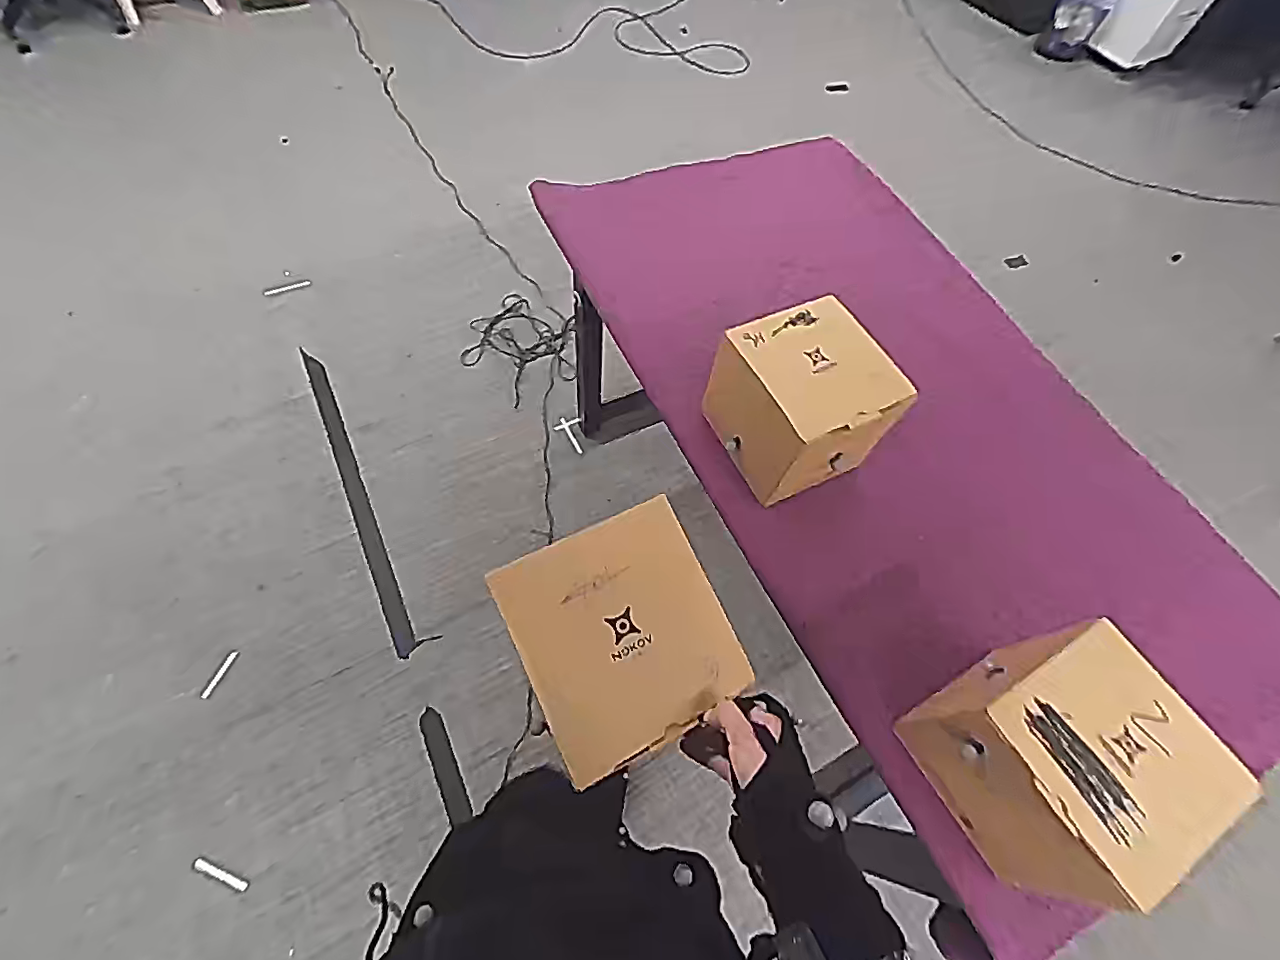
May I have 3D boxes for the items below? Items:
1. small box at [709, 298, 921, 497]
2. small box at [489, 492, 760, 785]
[{"bbox_3d":[0.210,-0.096,0.703,0.168,0.176,0.179,-22,67,-15],"label":"small box"},{"bbox_3d":[-0.025,0.137,0.502,0.168,0.176,0.179,-25,80,-19],"label":"small box"}]
